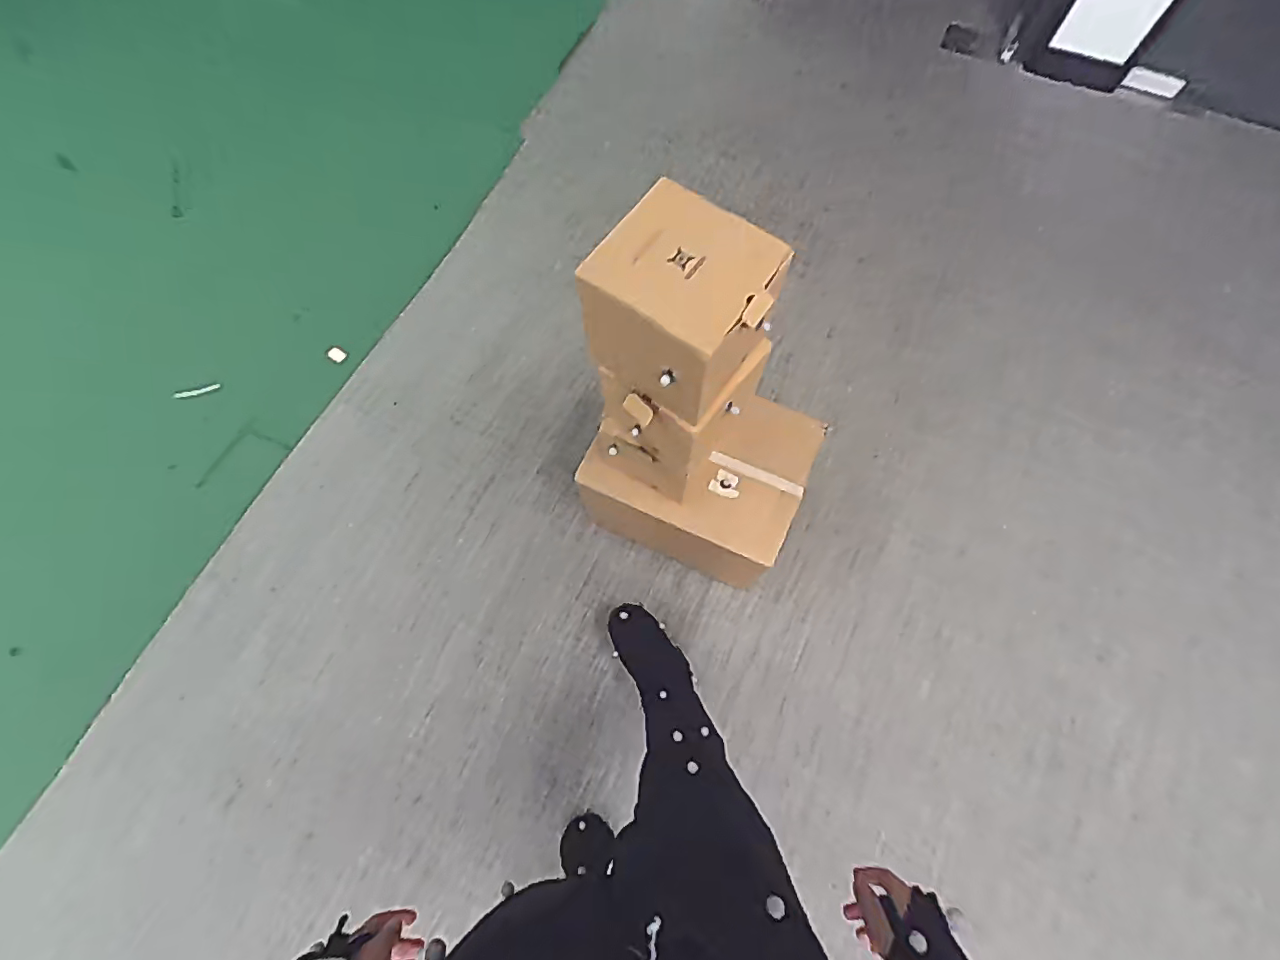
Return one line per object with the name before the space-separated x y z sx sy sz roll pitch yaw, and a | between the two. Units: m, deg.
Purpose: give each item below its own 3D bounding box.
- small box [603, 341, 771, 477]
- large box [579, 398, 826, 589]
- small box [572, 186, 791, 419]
small box | 0.061 -0.135 0.793 0.168 0.176 0.179 37 76 12
large box | 0.121 0.002 1.174 0.408 0.320 0.320 23 74 8
small box | 0.046 -0.196 0.642 0.179 0.176 0.168 34 74 13
